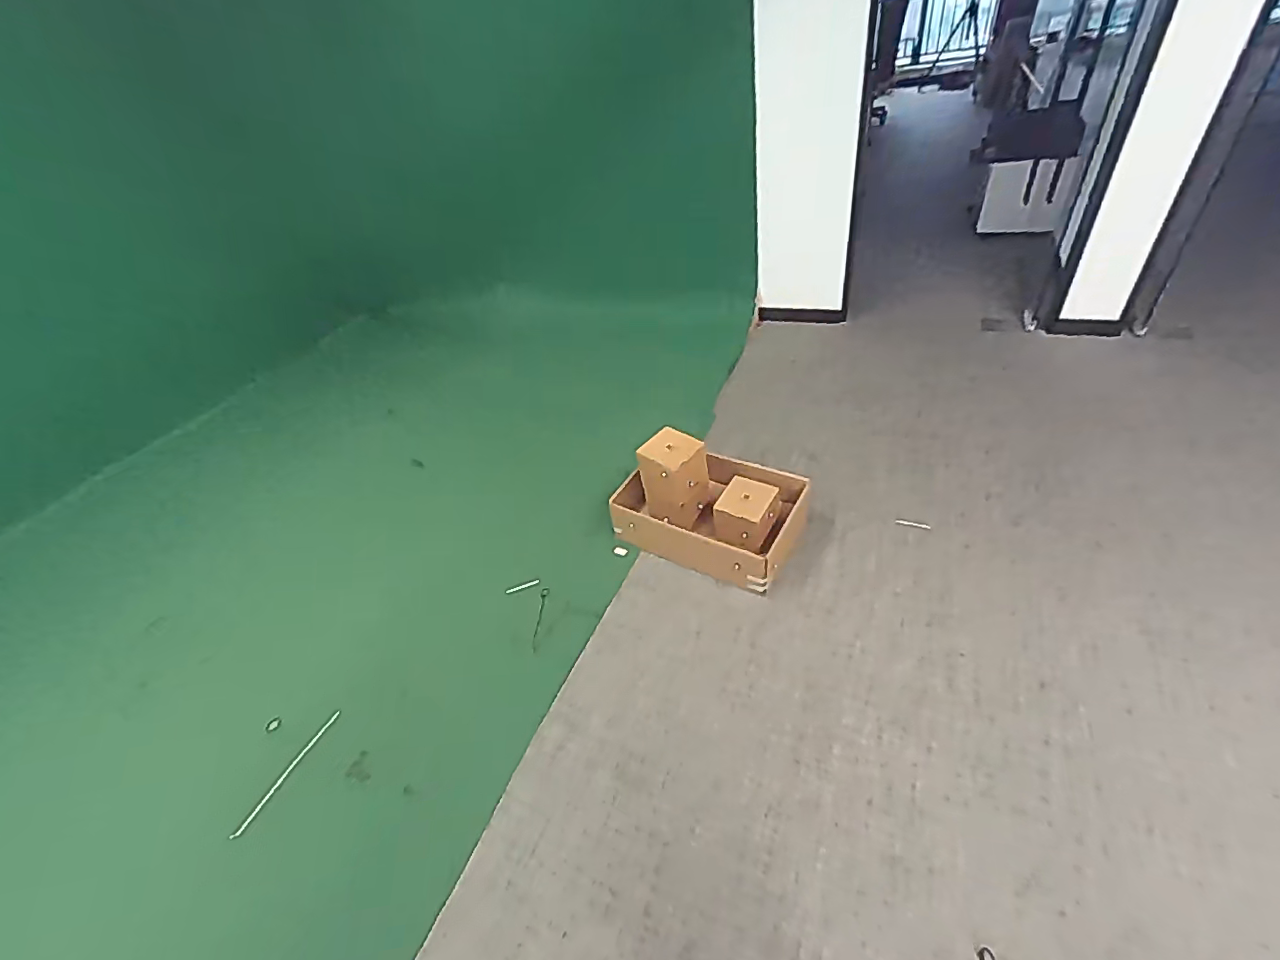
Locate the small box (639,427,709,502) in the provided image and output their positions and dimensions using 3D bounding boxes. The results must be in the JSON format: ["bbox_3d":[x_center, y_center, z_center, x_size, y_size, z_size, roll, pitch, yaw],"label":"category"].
[{"bbox_3d":[0.120,-0.050,1.874,0.179,0.176,0.168,28,56,34],"label":"small box"}]
